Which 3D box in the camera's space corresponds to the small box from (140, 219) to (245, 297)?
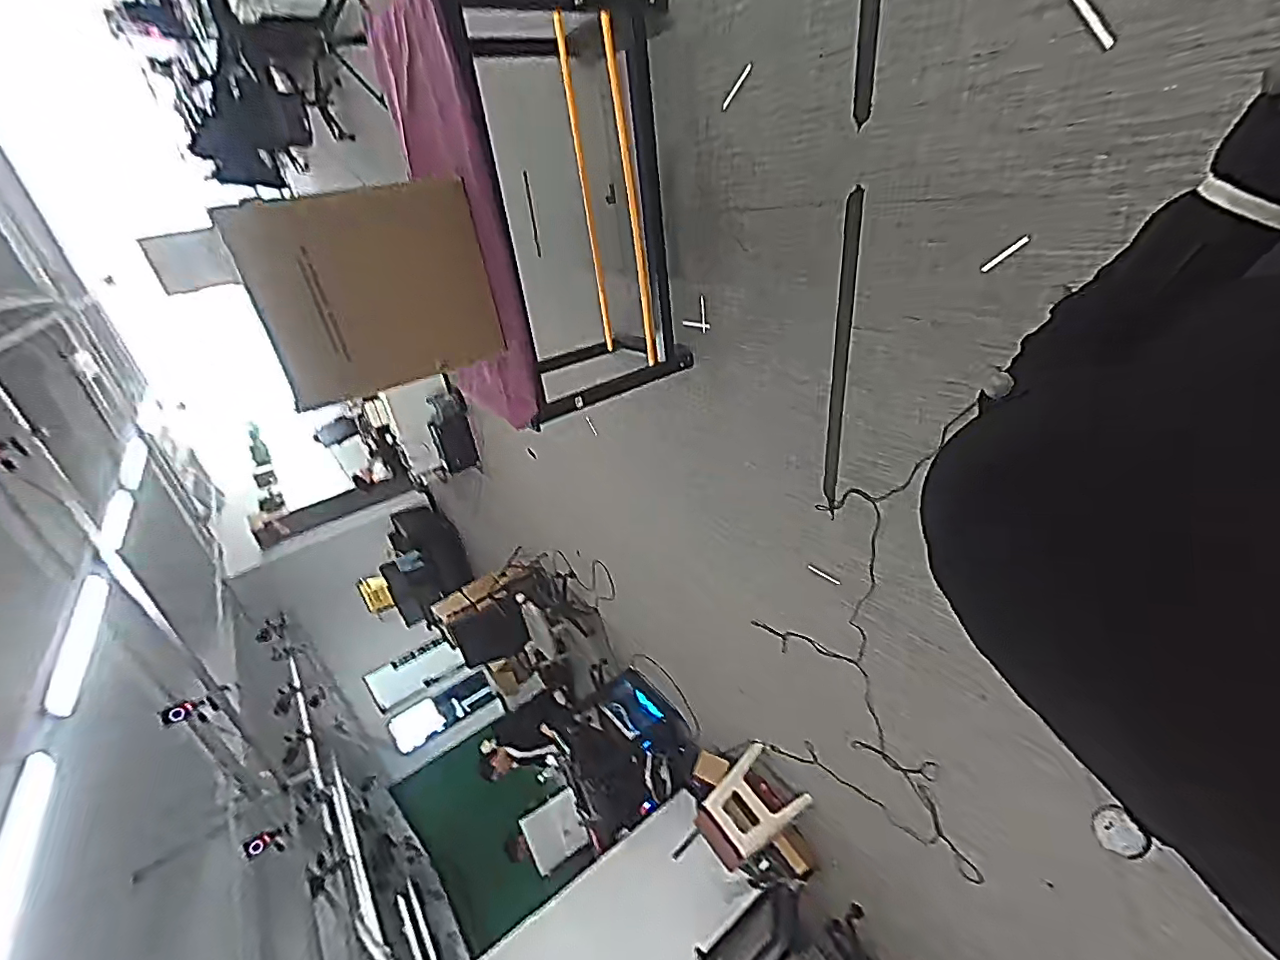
[{"bbox_3d":[-1.213,-0.610,1.478,0.179,0.176,0.168,29,137,47],"label":"small box"}]
